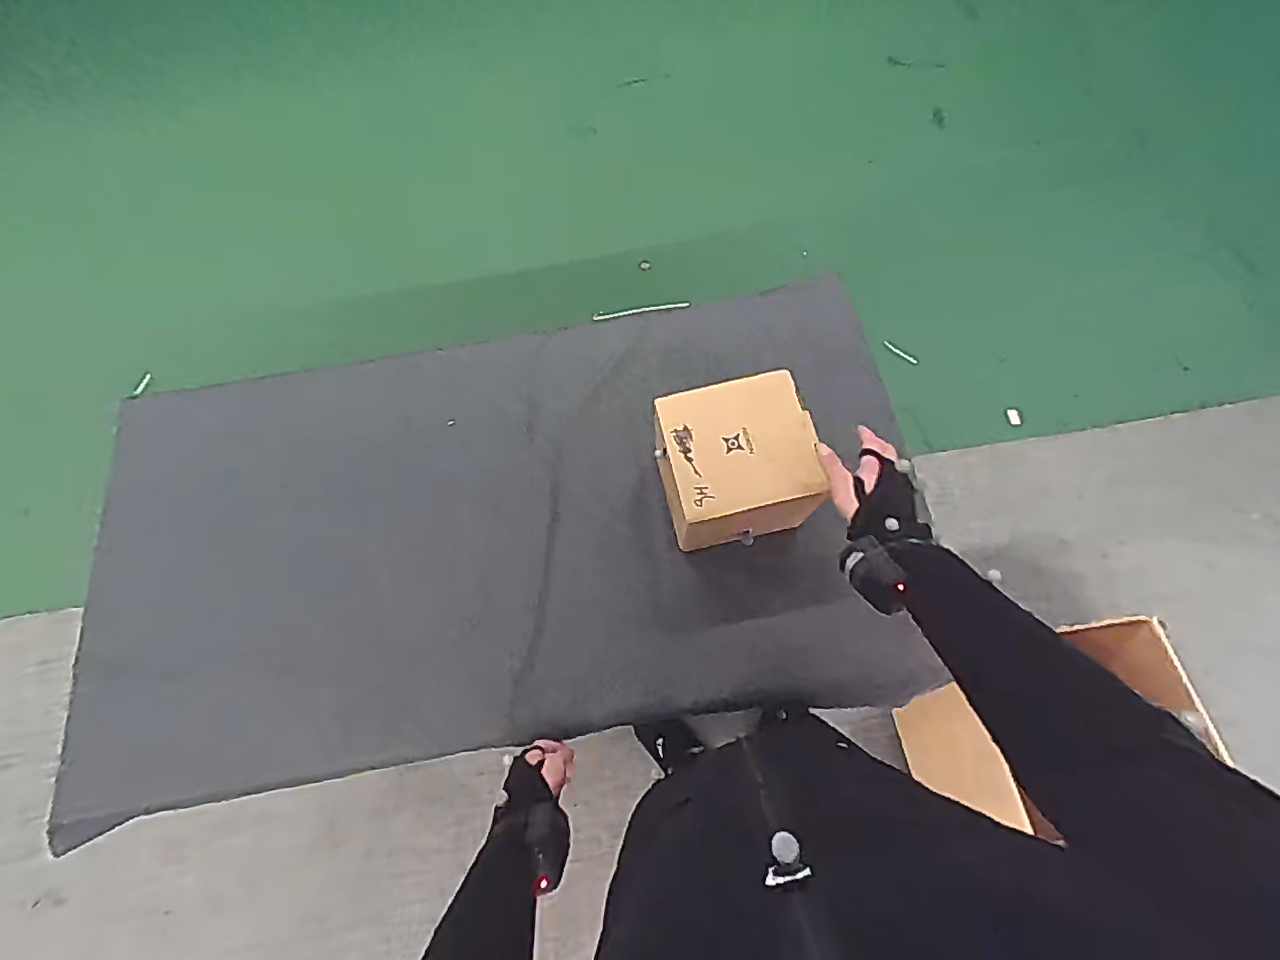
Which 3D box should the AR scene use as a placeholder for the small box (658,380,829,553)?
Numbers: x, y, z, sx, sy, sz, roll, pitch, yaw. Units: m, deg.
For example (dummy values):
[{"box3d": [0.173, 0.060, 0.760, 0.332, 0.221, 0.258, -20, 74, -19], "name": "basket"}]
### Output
[{"box3d": [0.126, -0.010, 0.738, 0.179, 0.176, 0.168, -15, 72, -2], "name": "small box"}]
